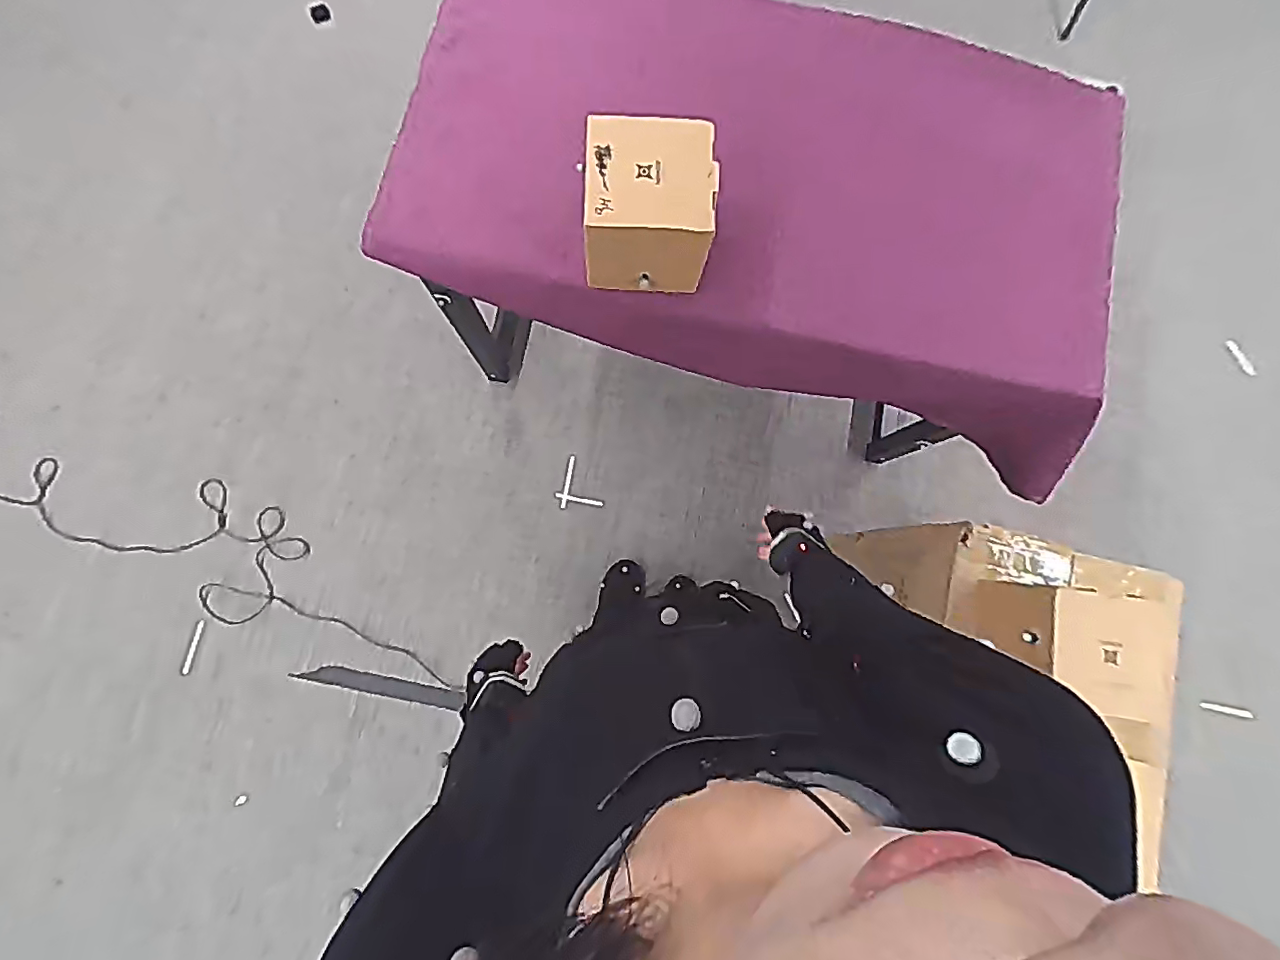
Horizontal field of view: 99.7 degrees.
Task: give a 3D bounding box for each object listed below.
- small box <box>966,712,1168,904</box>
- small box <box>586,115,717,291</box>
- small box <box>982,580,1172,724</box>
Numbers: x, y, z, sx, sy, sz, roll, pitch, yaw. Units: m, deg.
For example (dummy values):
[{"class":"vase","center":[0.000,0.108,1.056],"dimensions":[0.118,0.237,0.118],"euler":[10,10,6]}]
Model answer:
[{"class":"small box","center":[0.619,0.470,0.803],"dimensions":[0.168,0.176,0.179],"euler":[14,79,0]},{"class":"small box","center":[0.011,-0.397,0.803],"dimensions":[0.179,0.176,0.168],"euler":[2,80,-4]},{"class":"small box","center":[0.667,0.255,0.842],"dimensions":[0.168,0.176,0.179],"euler":[7,83,0]}]
